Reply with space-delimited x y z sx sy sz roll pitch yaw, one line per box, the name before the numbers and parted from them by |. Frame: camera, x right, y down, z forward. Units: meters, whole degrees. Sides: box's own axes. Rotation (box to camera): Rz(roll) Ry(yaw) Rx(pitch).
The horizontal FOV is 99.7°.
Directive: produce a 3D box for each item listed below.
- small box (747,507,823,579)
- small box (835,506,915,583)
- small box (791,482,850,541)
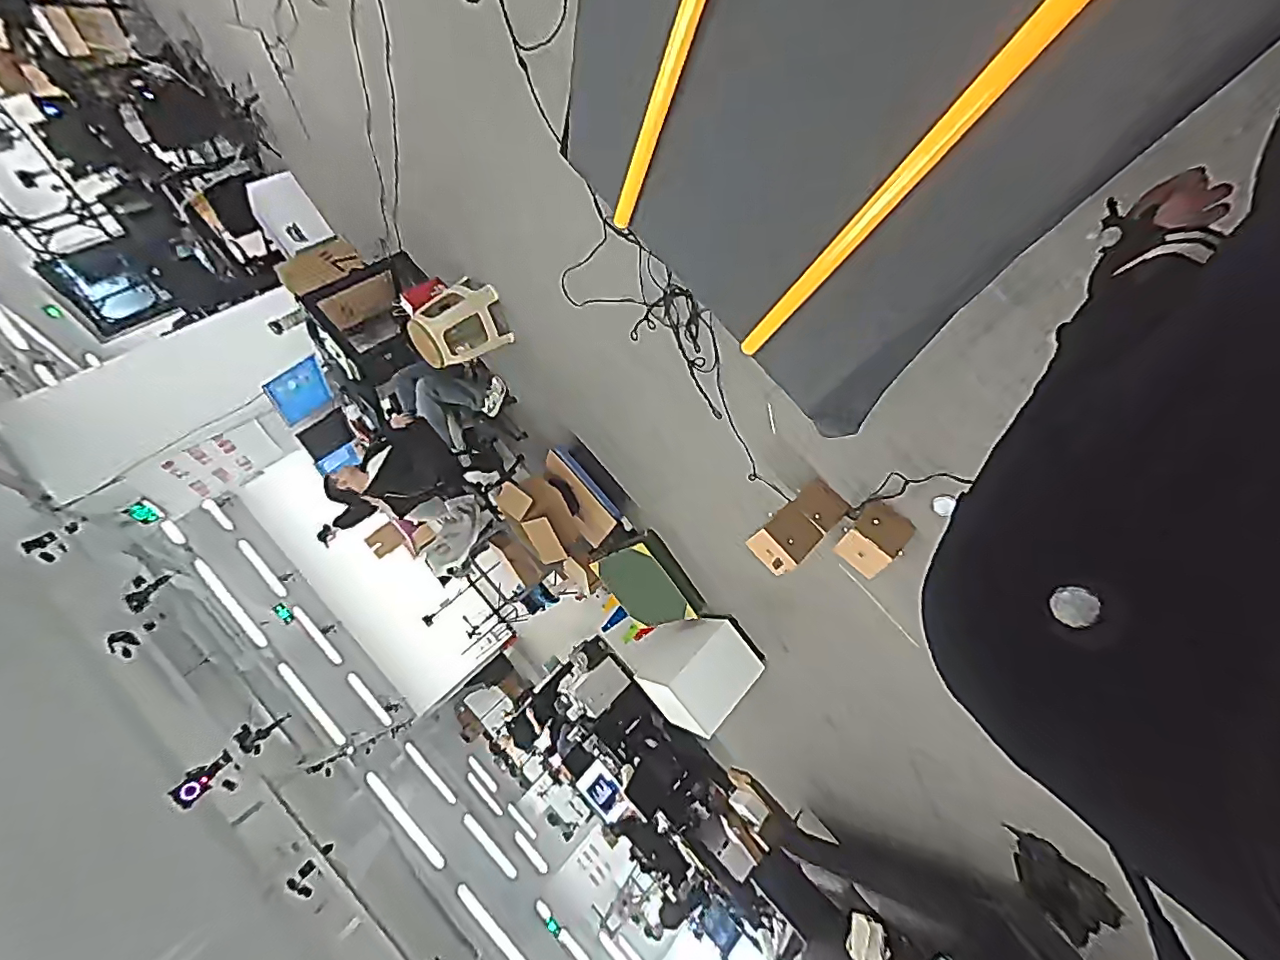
small box | 0.534 0.229 1.980 0.179 0.176 0.168 47 154 9
small box | 0.826 0.222 1.891 0.168 0.176 0.179 42 153 19
small box | 0.658 0.140 2.046 0.168 0.176 0.179 45 154 14
